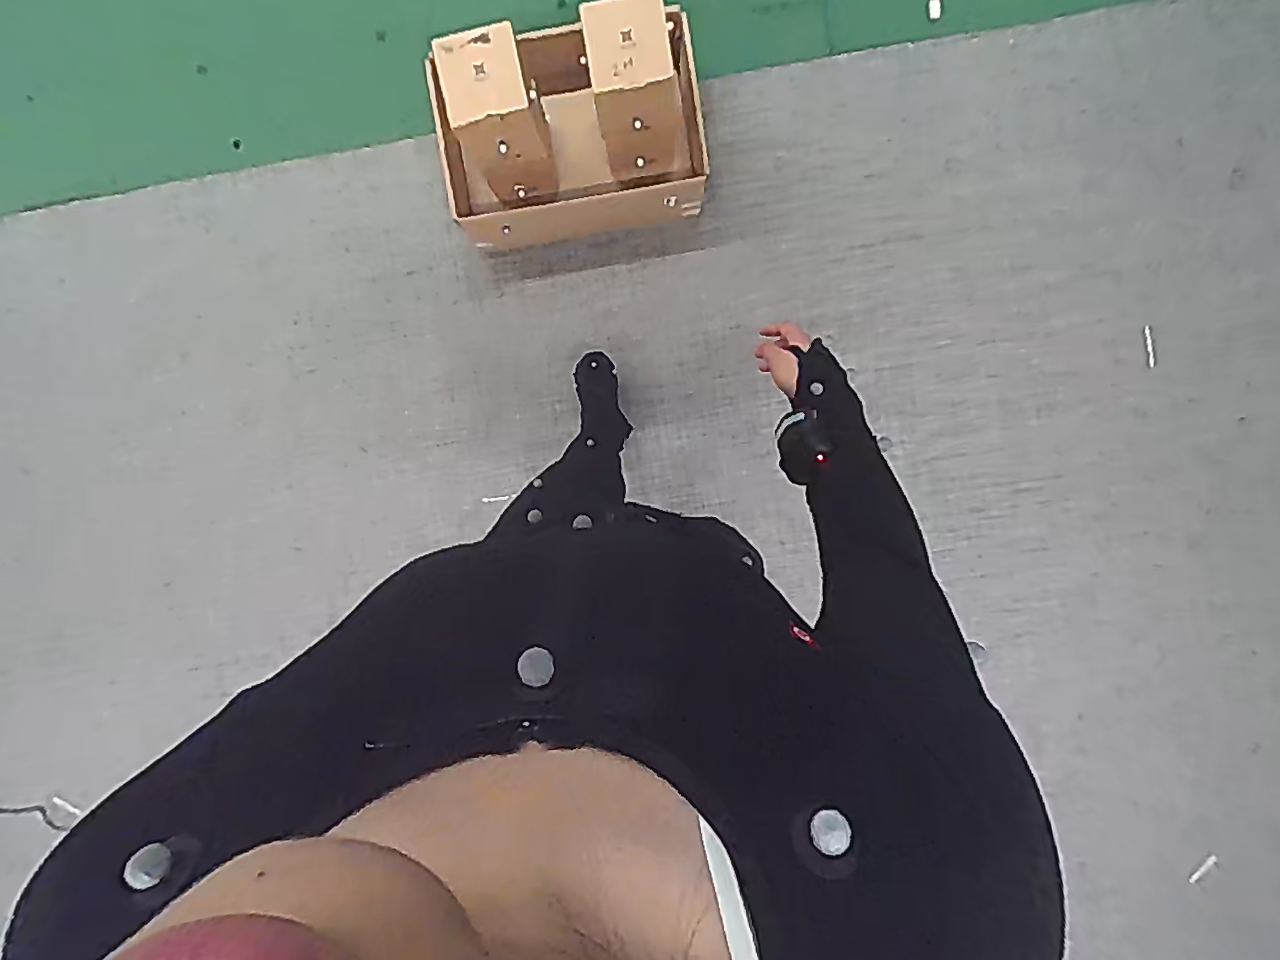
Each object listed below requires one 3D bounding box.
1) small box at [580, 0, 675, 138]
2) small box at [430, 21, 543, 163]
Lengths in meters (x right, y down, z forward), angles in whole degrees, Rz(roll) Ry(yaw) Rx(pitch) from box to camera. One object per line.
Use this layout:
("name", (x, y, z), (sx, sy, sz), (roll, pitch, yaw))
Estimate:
("small box", (-0.023, -0.860, 1.130), (0.168, 0.176, 0.179), (-9, 94, 3))
("small box", (-0.314, -0.801, 1.142), (0.168, 0.176, 0.179), (-12, 94, 2))
